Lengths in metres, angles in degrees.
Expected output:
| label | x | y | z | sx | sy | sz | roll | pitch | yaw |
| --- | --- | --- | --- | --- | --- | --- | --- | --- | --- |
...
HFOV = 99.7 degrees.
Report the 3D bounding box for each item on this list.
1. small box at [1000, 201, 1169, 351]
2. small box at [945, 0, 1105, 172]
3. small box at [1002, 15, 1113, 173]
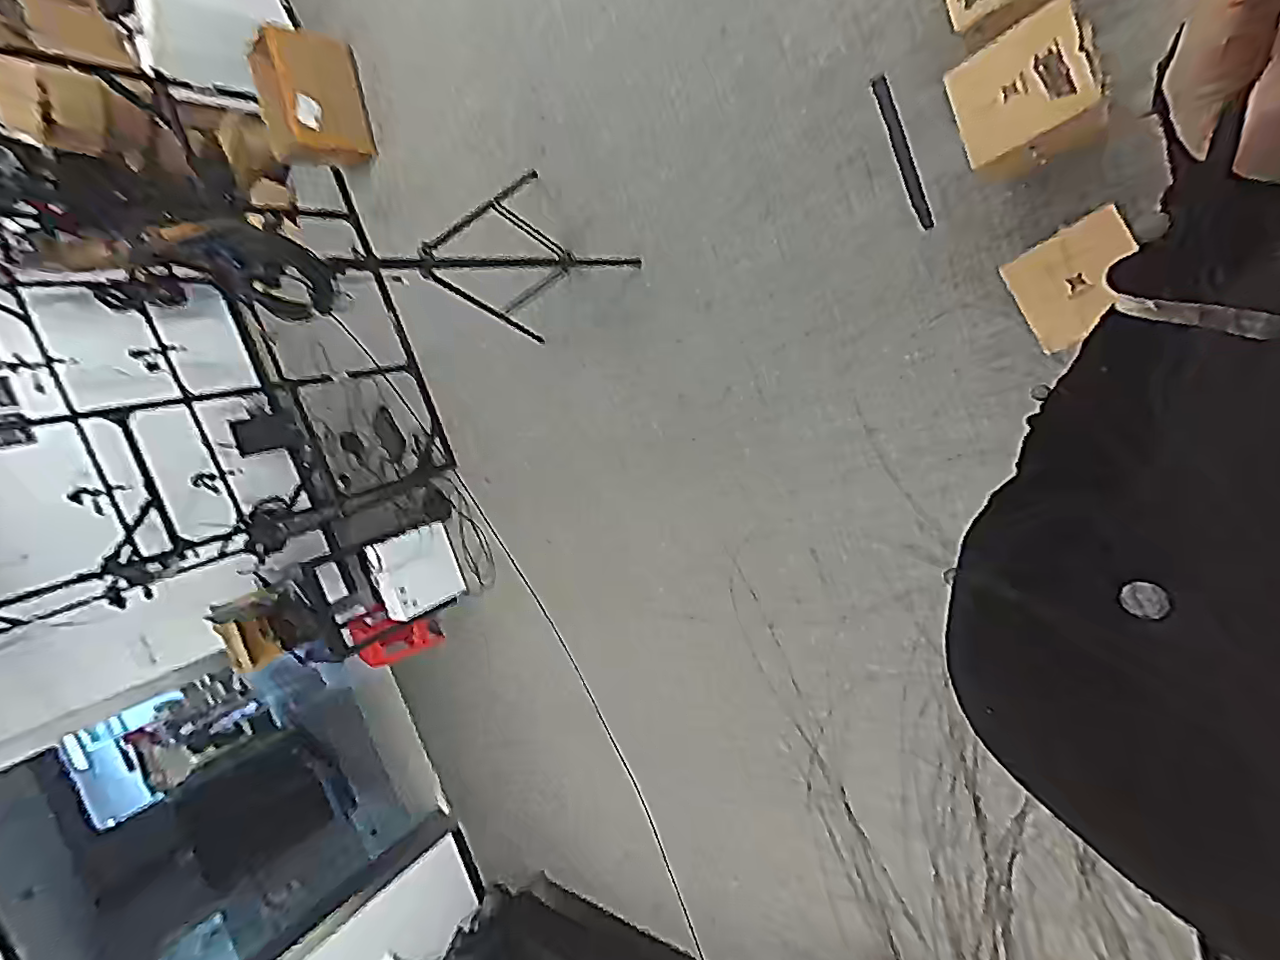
| label | x | y | z | sx | sy | sz | roll | pitch | yaw |
| --- | --- | --- | --- | --- | --- | --- | --- | --- | --- |
| small box | 0.762 | -0.348 | 0.931 | 0.168 | 0.176 | 0.179 | -31 | 85 | 44 |
| small box | 0.646 | -0.648 | 0.905 | 0.179 | 0.176 | 0.168 | -17 | 96 | 45 |
| small box | 0.757 | -0.703 | 1.014 | 0.179 | 0.176 | 0.168 | -13 | 100 | 44 |
